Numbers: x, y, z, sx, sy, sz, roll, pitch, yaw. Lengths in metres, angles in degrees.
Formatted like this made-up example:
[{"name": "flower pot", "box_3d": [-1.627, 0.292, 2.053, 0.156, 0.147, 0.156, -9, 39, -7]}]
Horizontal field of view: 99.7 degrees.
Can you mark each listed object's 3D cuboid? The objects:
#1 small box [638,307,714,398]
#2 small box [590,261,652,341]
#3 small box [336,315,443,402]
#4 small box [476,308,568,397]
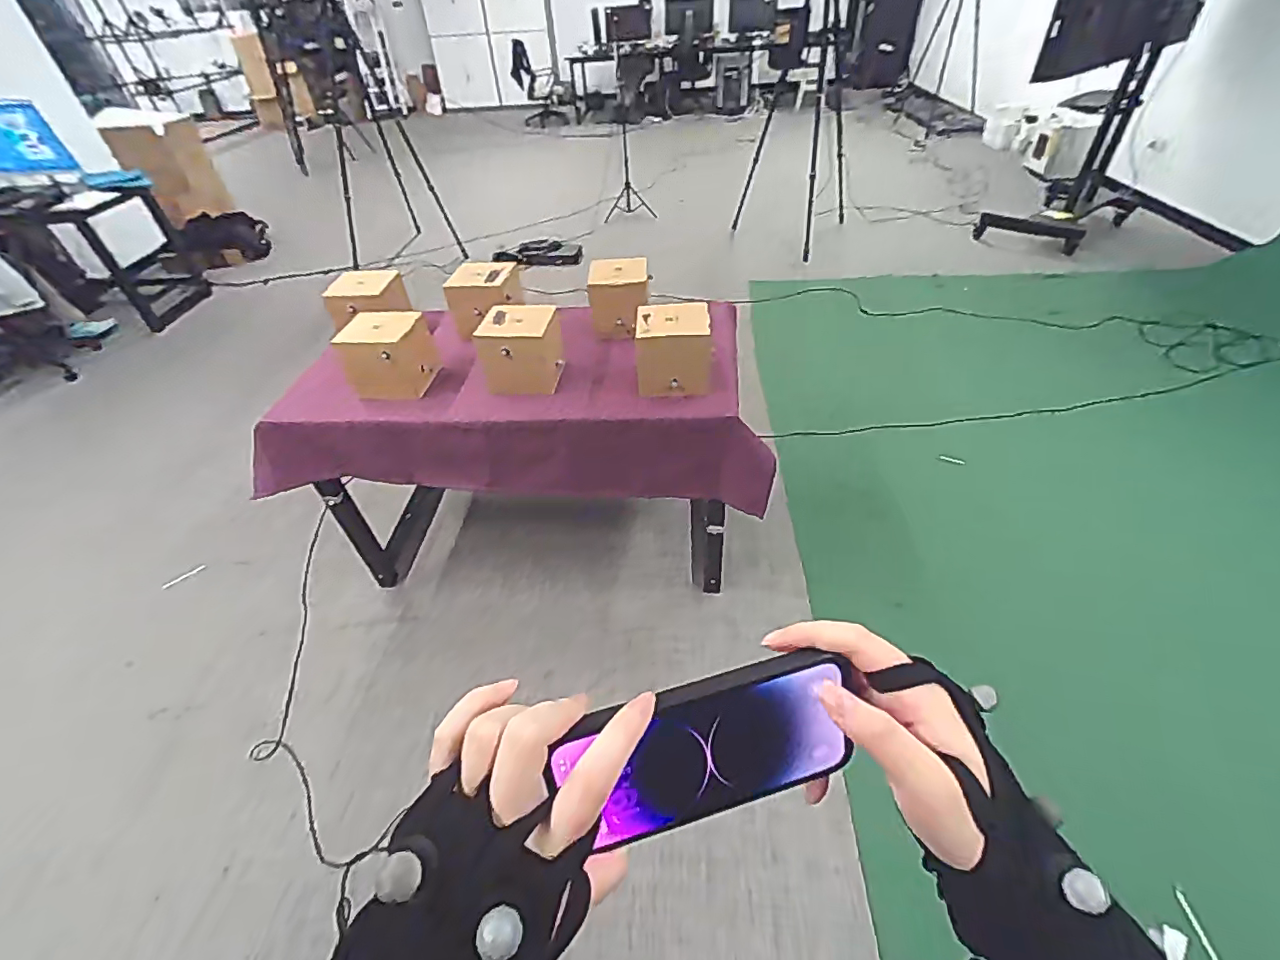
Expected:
[{"name": "small box", "box_3d": [0.090, -0.316, 1.353, 0.179, 0.176, 0.168, -1, 42, 4]}, {"name": "small box", "box_3d": [-0.050, -0.525, 1.589, 0.168, 0.176, 0.179, -2, 43, 4]}, {"name": "small box", "box_3d": [-0.649, -0.319, 1.424, 0.179, 0.176, 0.168, 2, 43, 5]}, {"name": "small box", "box_3d": [-0.297, -0.330, 1.403, 0.179, 0.176, 0.168, 3, 43, 7]}]
